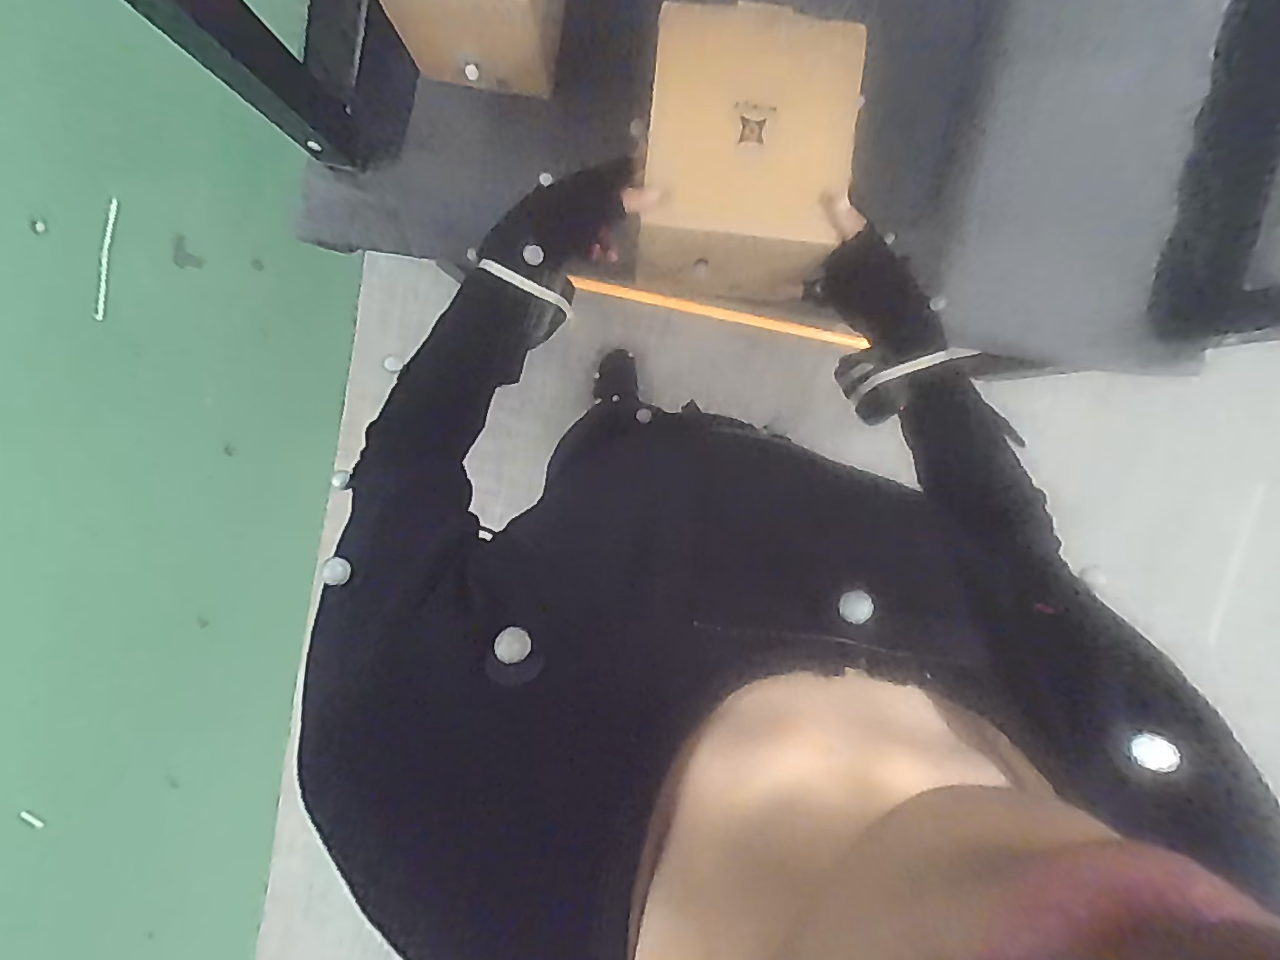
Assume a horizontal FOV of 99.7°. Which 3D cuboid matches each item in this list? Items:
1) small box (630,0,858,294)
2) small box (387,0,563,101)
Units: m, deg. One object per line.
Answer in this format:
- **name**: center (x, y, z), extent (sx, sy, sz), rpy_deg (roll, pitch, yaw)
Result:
- **small box**: center (0.082, -0.288, 0.507), extent (0.168, 0.176, 0.179), rpy_deg (5, 92, -1)
- **small box**: center (-0.181, -0.571, 0.600), extent (0.168, 0.176, 0.179), rpy_deg (9, 96, -1)
